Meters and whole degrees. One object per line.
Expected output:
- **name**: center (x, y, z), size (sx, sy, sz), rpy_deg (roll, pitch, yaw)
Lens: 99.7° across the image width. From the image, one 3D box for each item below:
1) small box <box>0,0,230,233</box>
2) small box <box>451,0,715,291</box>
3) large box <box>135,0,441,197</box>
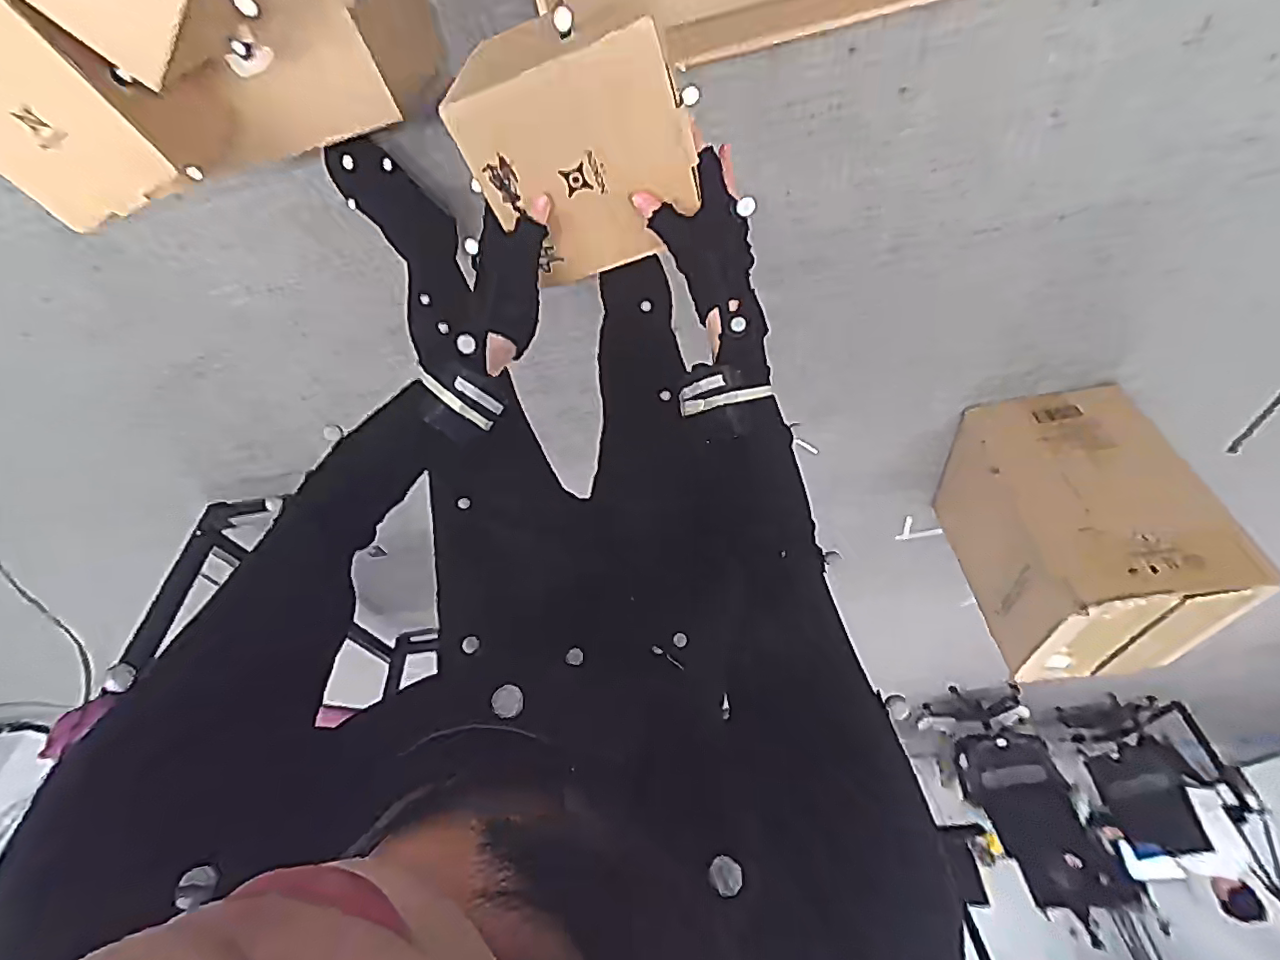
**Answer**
- **small box**: center (-0.596, -0.409, 0.574), size (0.168, 0.176, 0.179), rpy_deg (-18, 138, 14)
- **small box**: center (-0.040, -0.312, 0.499), size (0.179, 0.176, 0.168), rpy_deg (-13, 137, 14)
- **large box**: center (-0.533, -0.632, 0.689), size (0.408, 0.320, 0.320), rpy_deg (-12, 141, 9)
